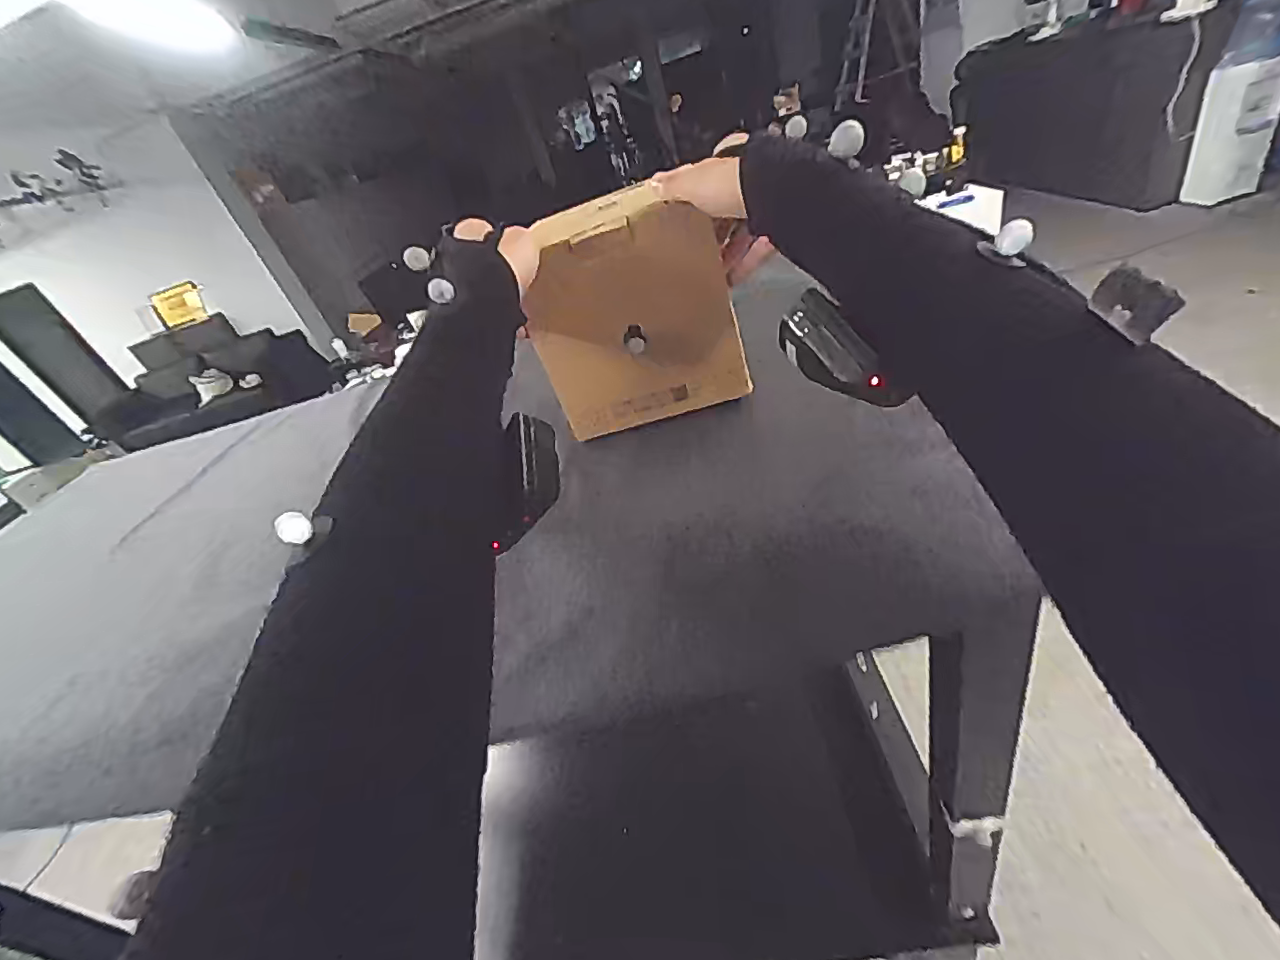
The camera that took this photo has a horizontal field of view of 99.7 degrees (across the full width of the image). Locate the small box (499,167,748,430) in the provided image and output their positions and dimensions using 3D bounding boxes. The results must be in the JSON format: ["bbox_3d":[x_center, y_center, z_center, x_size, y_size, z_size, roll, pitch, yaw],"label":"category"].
[{"bbox_3d":[-0.004,-0.163,0.506,0.168,0.176,0.179,-15,34,11],"label":"small box"}]
